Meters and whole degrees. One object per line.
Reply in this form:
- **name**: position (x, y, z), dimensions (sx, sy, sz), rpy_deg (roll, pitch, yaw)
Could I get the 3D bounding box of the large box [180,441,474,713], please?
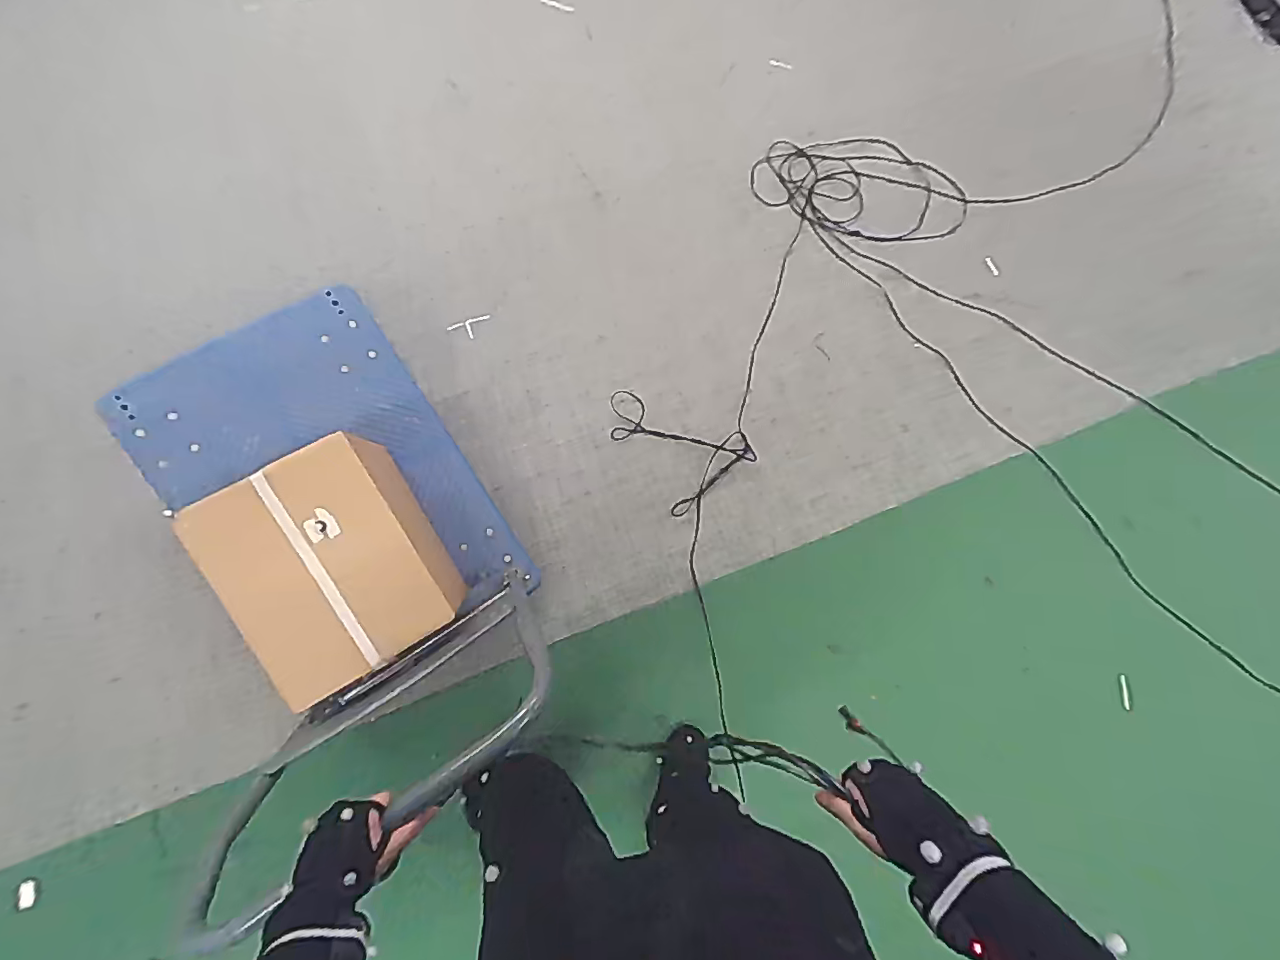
- **large box**: position (-0.595, 0.180, 1.118), dimensions (0.320, 0.320, 0.408), rpy_deg (-31, 93, -13)
